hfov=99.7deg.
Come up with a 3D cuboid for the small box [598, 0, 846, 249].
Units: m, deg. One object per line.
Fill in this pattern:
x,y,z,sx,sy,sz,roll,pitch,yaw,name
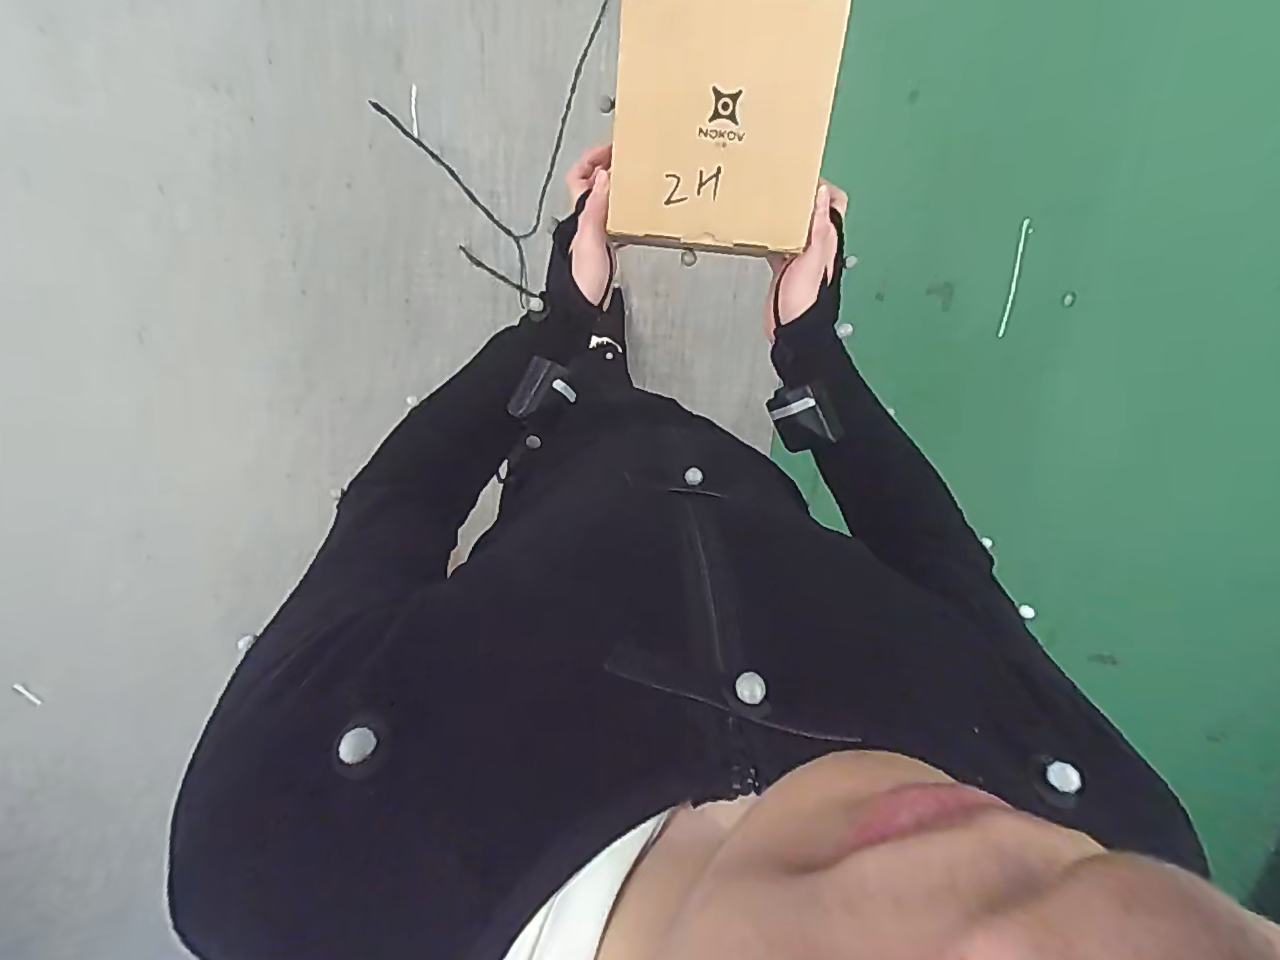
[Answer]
0.054,-0.307,0.472,0.168,0.176,0.179,5,111,-3,small box
